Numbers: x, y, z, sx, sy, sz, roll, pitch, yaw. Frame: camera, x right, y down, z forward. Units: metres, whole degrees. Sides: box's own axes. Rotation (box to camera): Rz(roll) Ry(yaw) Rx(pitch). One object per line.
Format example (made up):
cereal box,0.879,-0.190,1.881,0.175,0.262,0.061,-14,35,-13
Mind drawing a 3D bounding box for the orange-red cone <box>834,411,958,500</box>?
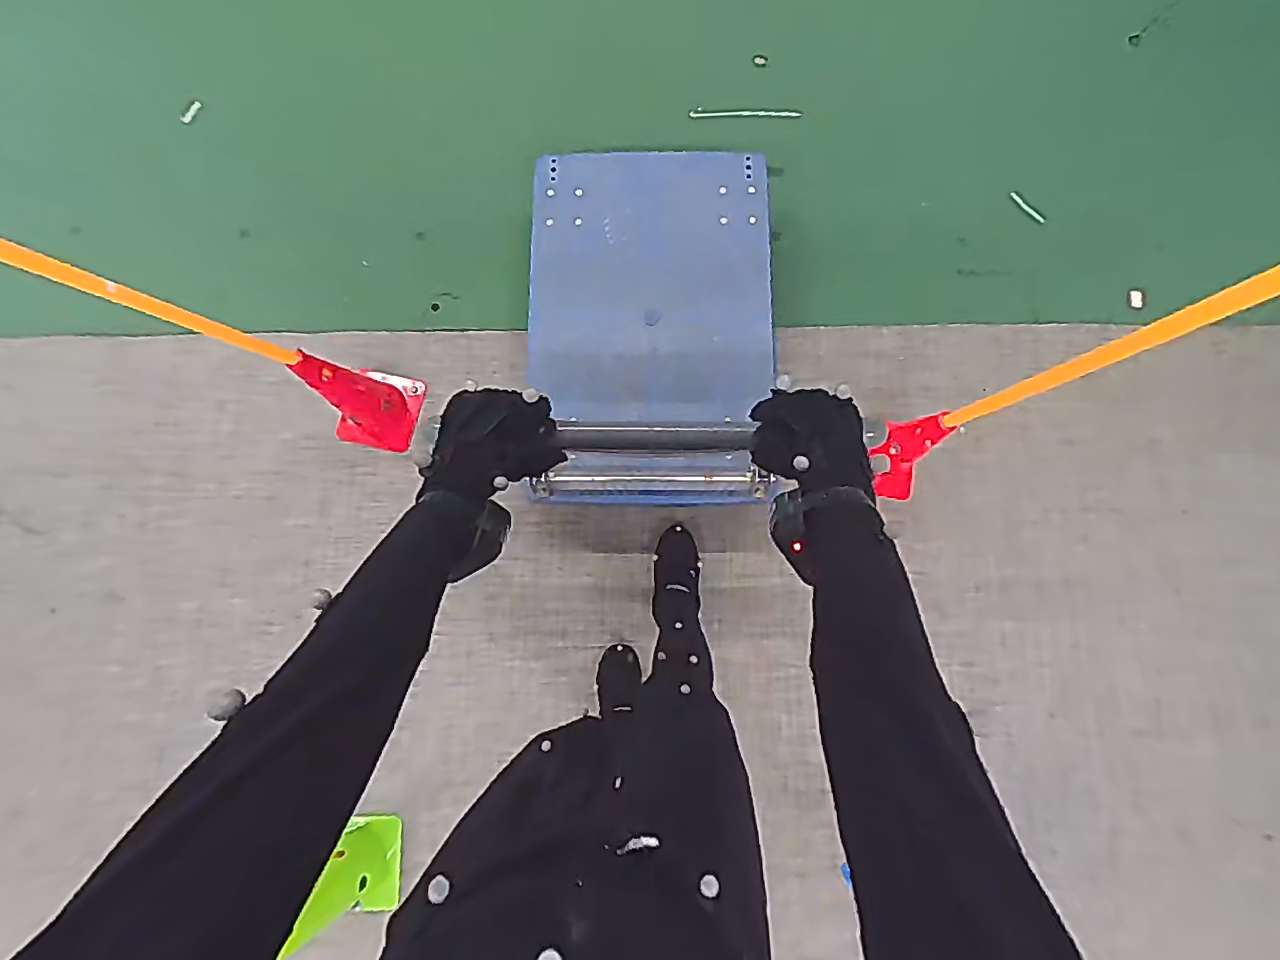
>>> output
orange-red cone,0.599,-0.085,1.211,0.198,0.360,0.199,11,82,3
